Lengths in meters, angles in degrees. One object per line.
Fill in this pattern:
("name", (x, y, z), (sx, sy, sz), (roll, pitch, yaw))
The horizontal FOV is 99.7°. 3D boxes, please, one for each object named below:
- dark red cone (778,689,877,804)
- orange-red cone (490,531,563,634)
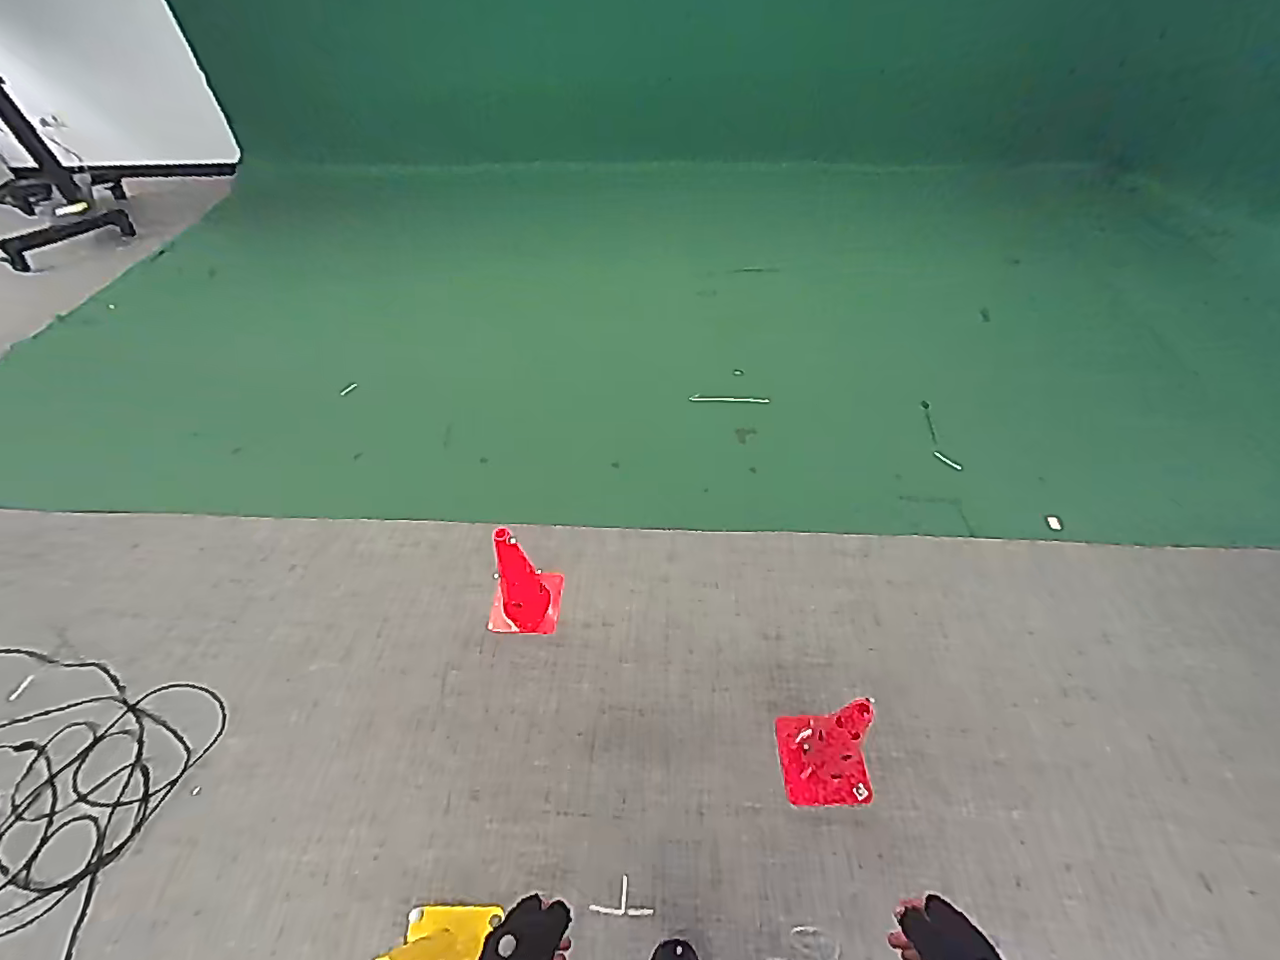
("dark red cone", (0.437, 0.548, 1.173), (0.202, 0.394, 0.201), (-3, 48, 0))
("orange-red cone", (-0.345, 0.258, 1.493), (0.198, 0.360, 0.199), (1, 50, 5))
